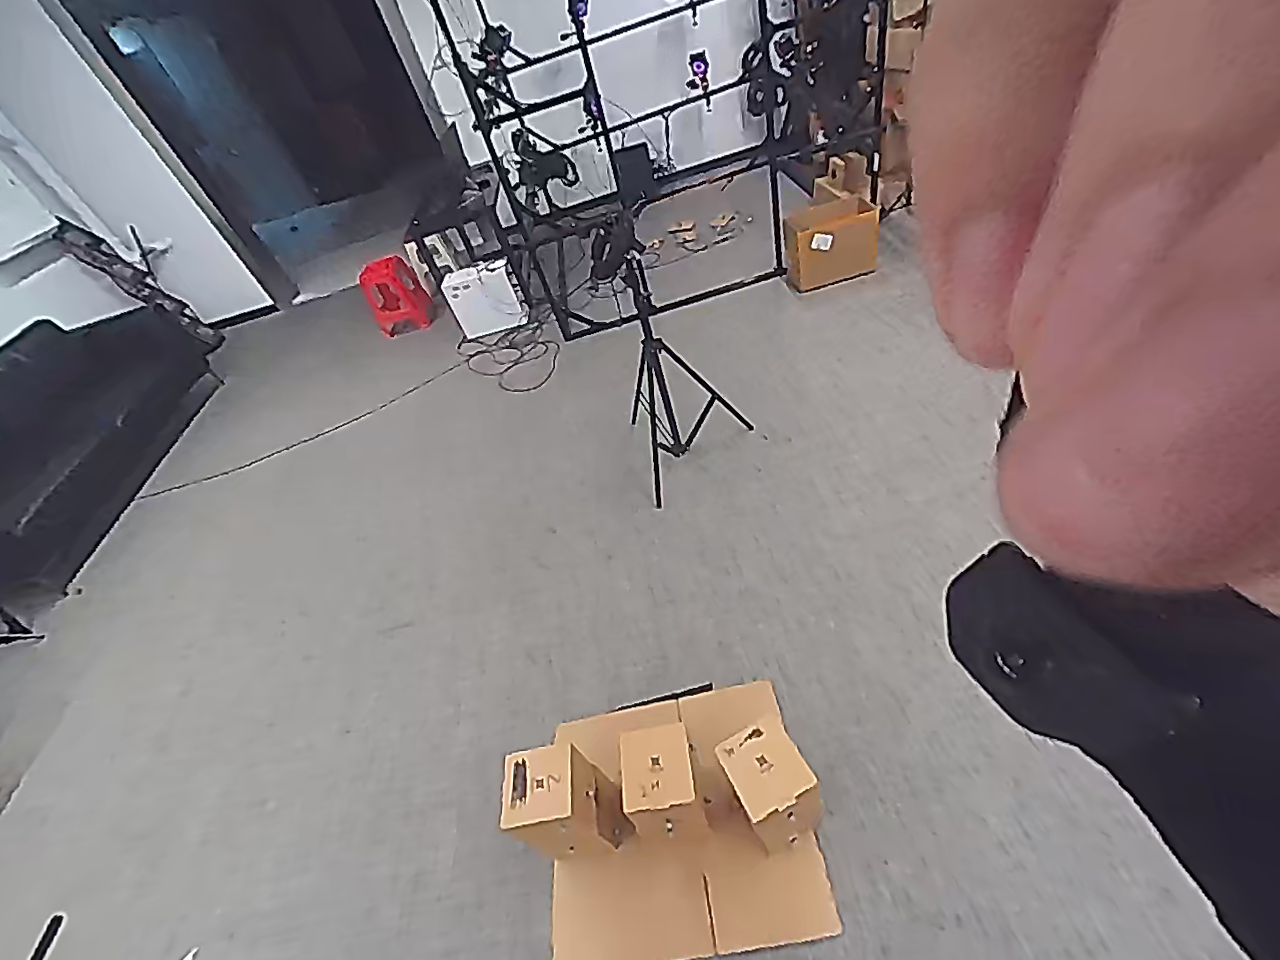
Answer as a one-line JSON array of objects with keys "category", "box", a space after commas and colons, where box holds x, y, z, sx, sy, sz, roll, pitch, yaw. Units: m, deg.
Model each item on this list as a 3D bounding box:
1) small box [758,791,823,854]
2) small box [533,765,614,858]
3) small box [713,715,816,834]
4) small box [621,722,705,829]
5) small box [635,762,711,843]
[{"category": "small box", "box": [0.341, 0.800, 1.367, 0.168, 0.176, 0.179, -29, 43, -9]}, {"category": "small box", "box": [-0.172, 0.894, 1.454, 0.179, 0.176, 0.168, -16, 43, 6]}, {"category": "small box", "box": [0.294, 0.689, 1.256, 0.168, 0.176, 0.179, -27, 44, -7]}, {"category": "small box", "box": [0.055, 0.718, 1.311, 0.168, 0.176, 0.179, -13, 44, 7]}, {"category": "small box", "box": [0.086, 0.835, 1.422, 0.179, 0.176, 0.168, -13, 44, 7]}]
